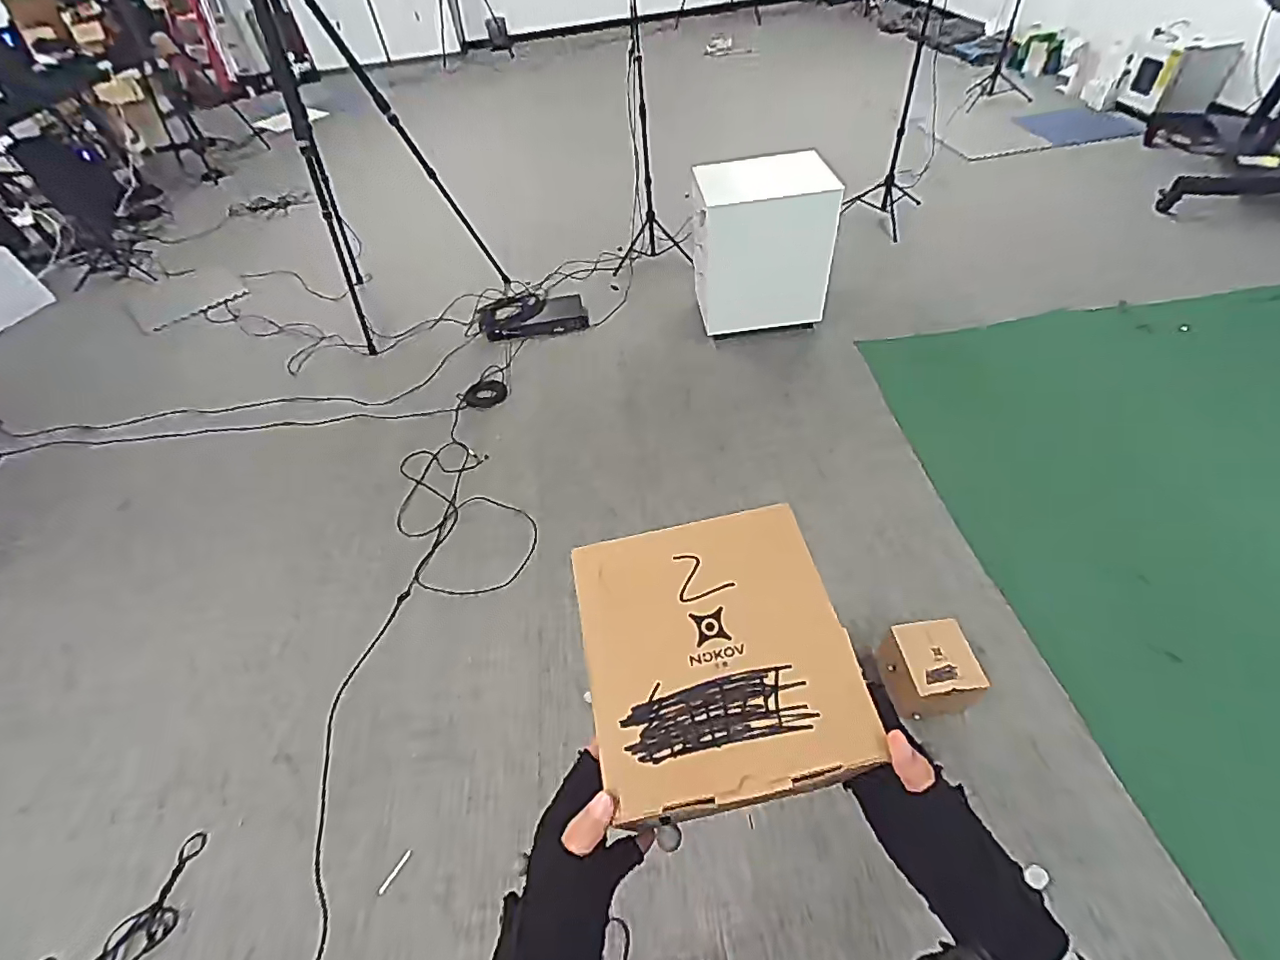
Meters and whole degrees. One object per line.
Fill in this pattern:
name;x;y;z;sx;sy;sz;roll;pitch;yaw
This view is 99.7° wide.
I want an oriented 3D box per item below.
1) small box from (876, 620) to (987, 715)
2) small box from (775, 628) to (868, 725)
small box;0.713;0.472;1.345;0.168;0.176;0.179;-7;49;0
small box;0.445;0.494;1.356;0.168;0.176;0.179;-6;49;1
